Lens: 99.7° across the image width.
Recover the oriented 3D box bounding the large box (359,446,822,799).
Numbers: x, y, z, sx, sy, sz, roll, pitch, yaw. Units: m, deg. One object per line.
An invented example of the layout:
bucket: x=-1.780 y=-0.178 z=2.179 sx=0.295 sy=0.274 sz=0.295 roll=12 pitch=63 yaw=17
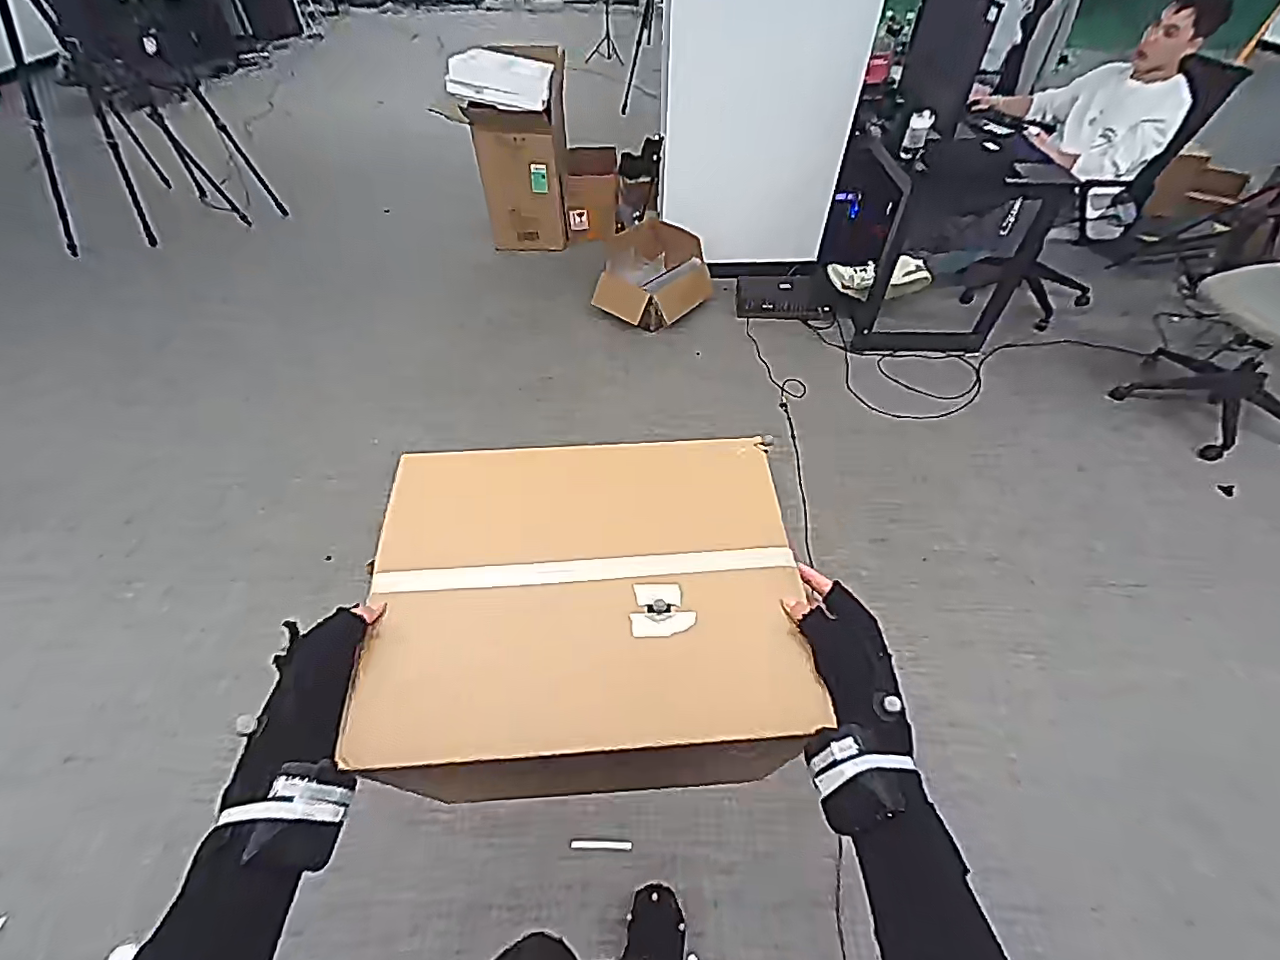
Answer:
large box: x=-0.054 y=0.182 z=0.662 sx=0.408 sy=0.320 sz=0.320 roll=-3 pitch=56 yaw=-4
